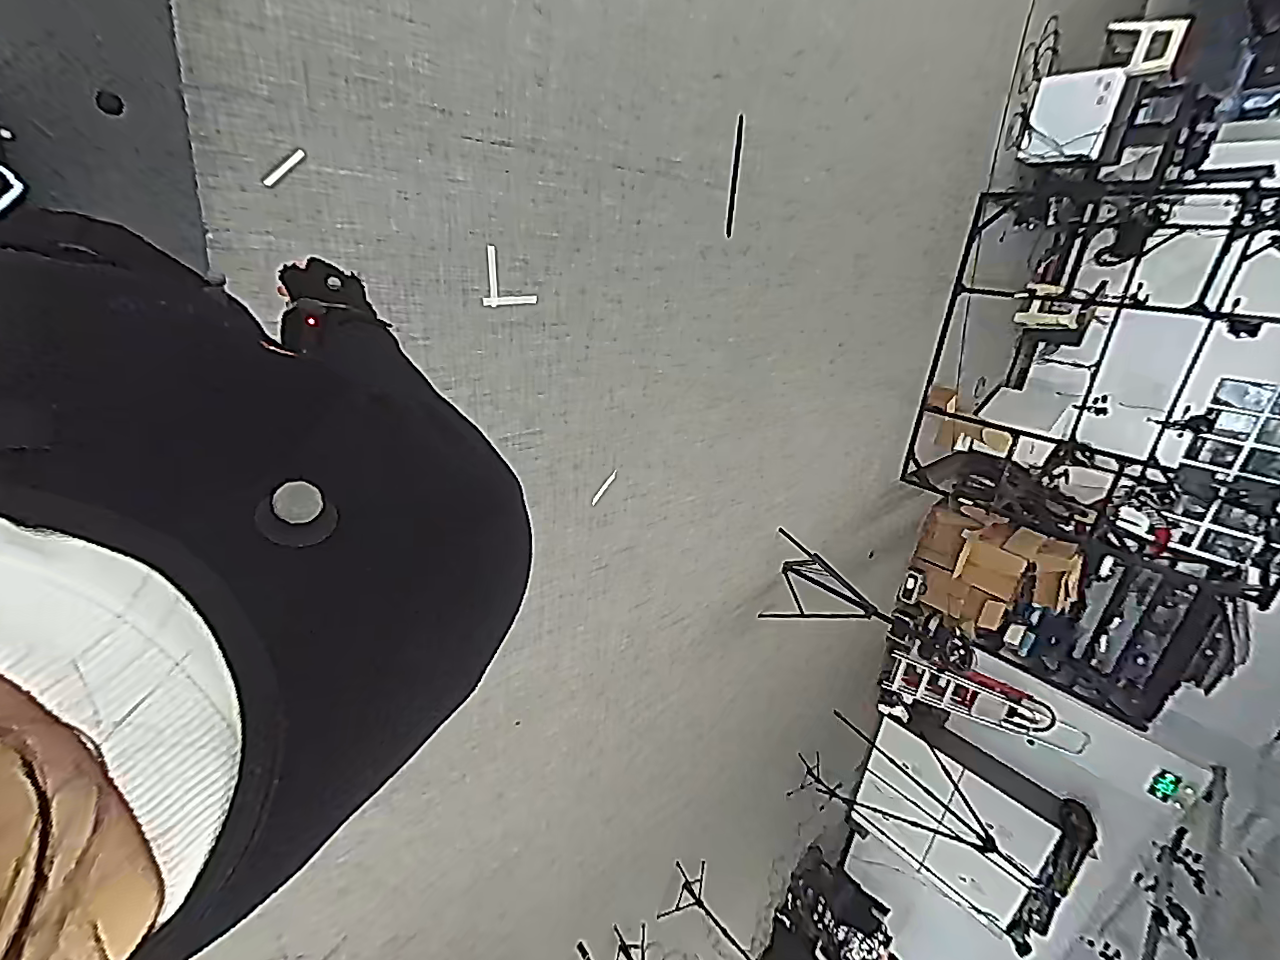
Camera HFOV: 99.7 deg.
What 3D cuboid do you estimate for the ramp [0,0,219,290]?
[{"bbox_3d":[-0.957,-0.776,0.735,0.509,0.206,0.991,-17,121,-40],"label":"ramp"}]
